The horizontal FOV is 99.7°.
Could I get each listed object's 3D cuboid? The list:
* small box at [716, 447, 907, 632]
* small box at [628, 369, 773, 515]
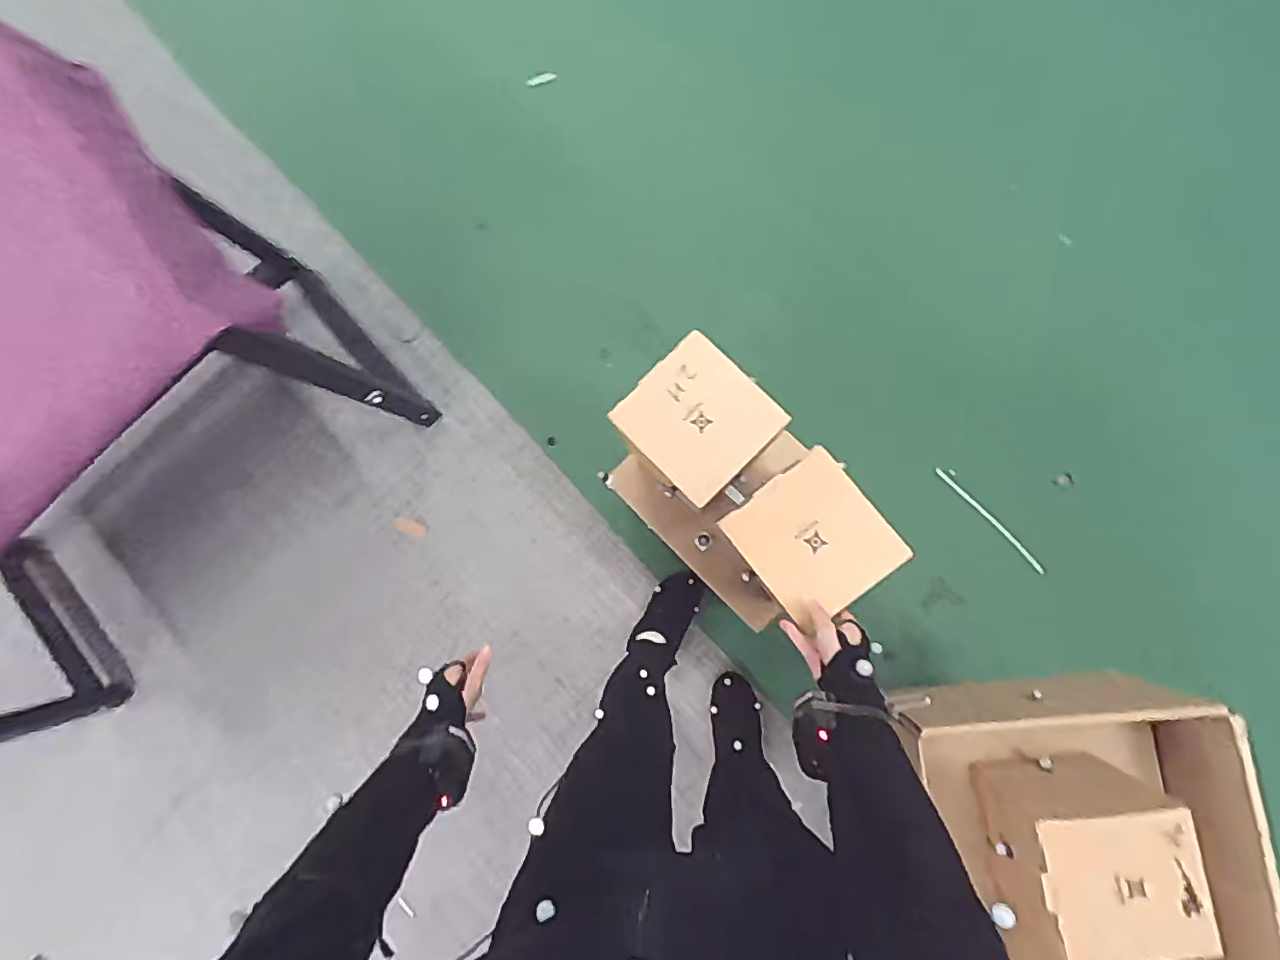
[{"bbox_3d":[0.223,0.079,0.748,0.168,0.176,0.179,-38,80,3],"label":"small box"},{"bbox_3d":[0.103,-0.057,0.942,0.168,0.176,0.179,43,90,9],"label":"small box"}]
